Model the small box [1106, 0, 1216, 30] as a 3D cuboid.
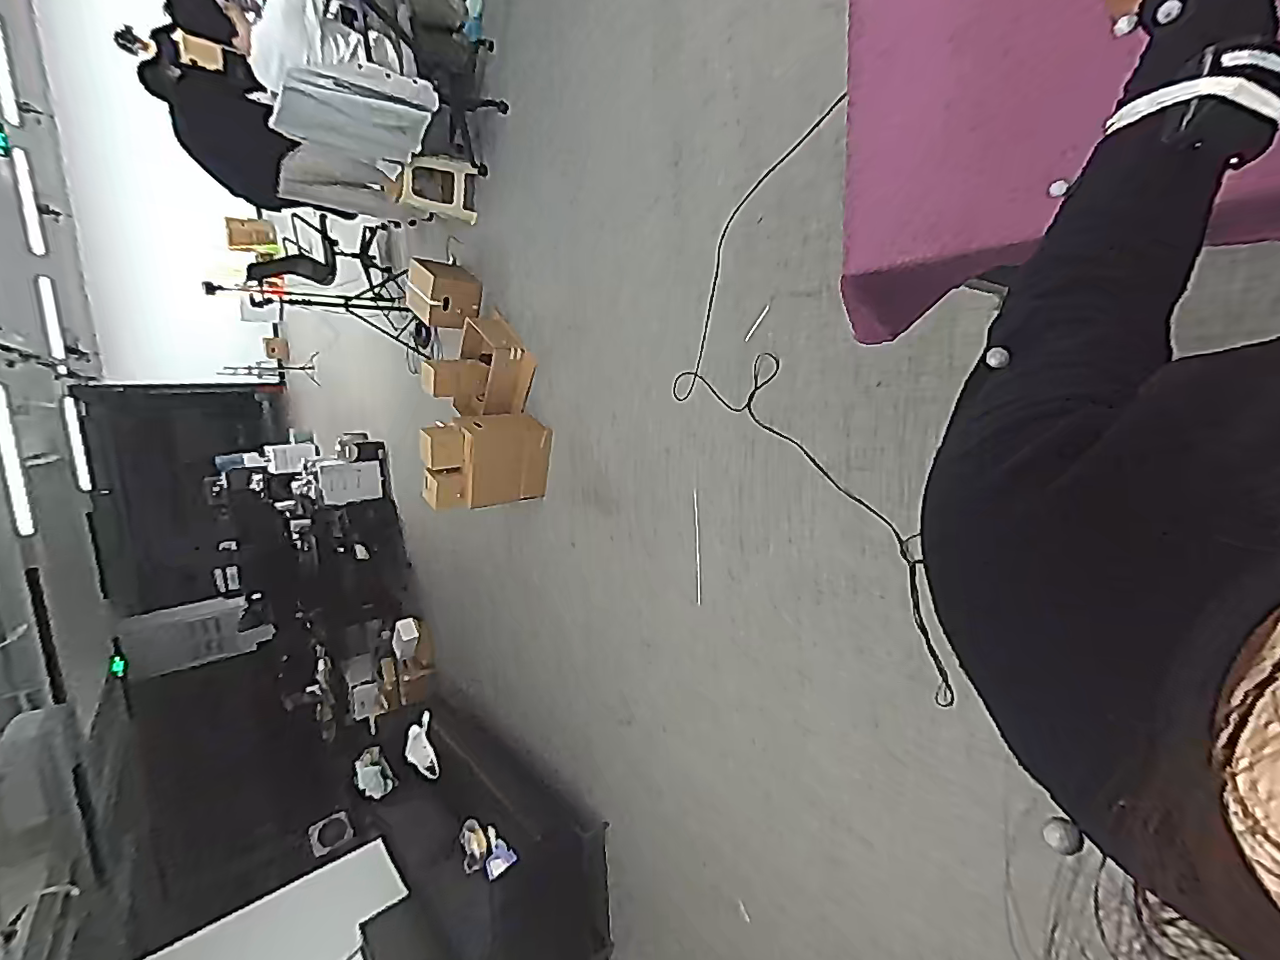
[{"bbox_3d":[0.511,-0.549,0.464,0.168,0.176,0.179,14,108,48],"label":"small box"}]
